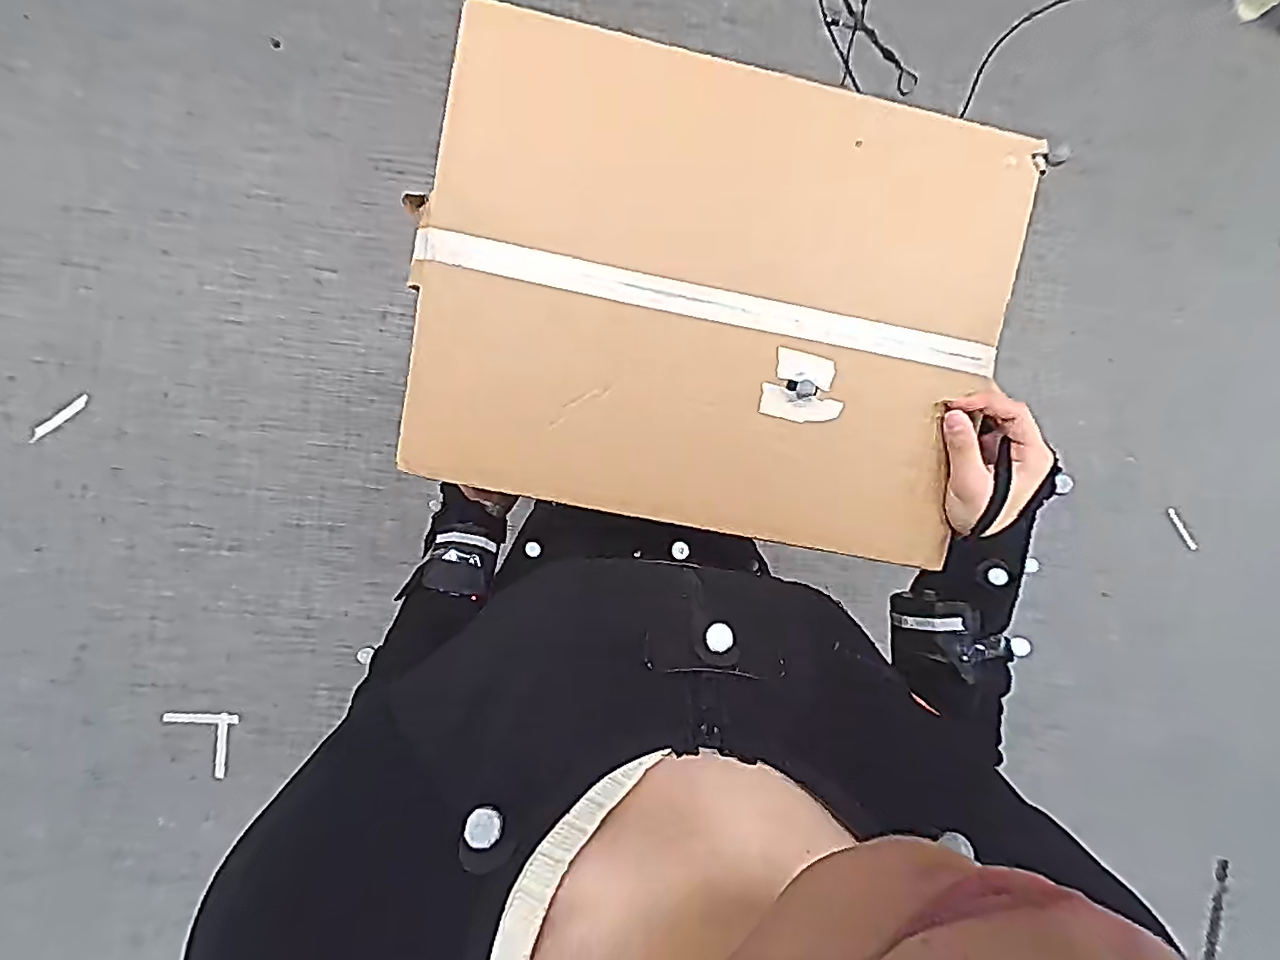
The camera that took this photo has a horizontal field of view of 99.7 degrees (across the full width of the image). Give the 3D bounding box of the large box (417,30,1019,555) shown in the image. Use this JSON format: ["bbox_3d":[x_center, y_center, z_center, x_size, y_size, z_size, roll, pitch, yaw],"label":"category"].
[{"bbox_3d":[0.045,-0.135,0.534,0.408,0.320,0.320,10,96,-6],"label":"large box"}]
